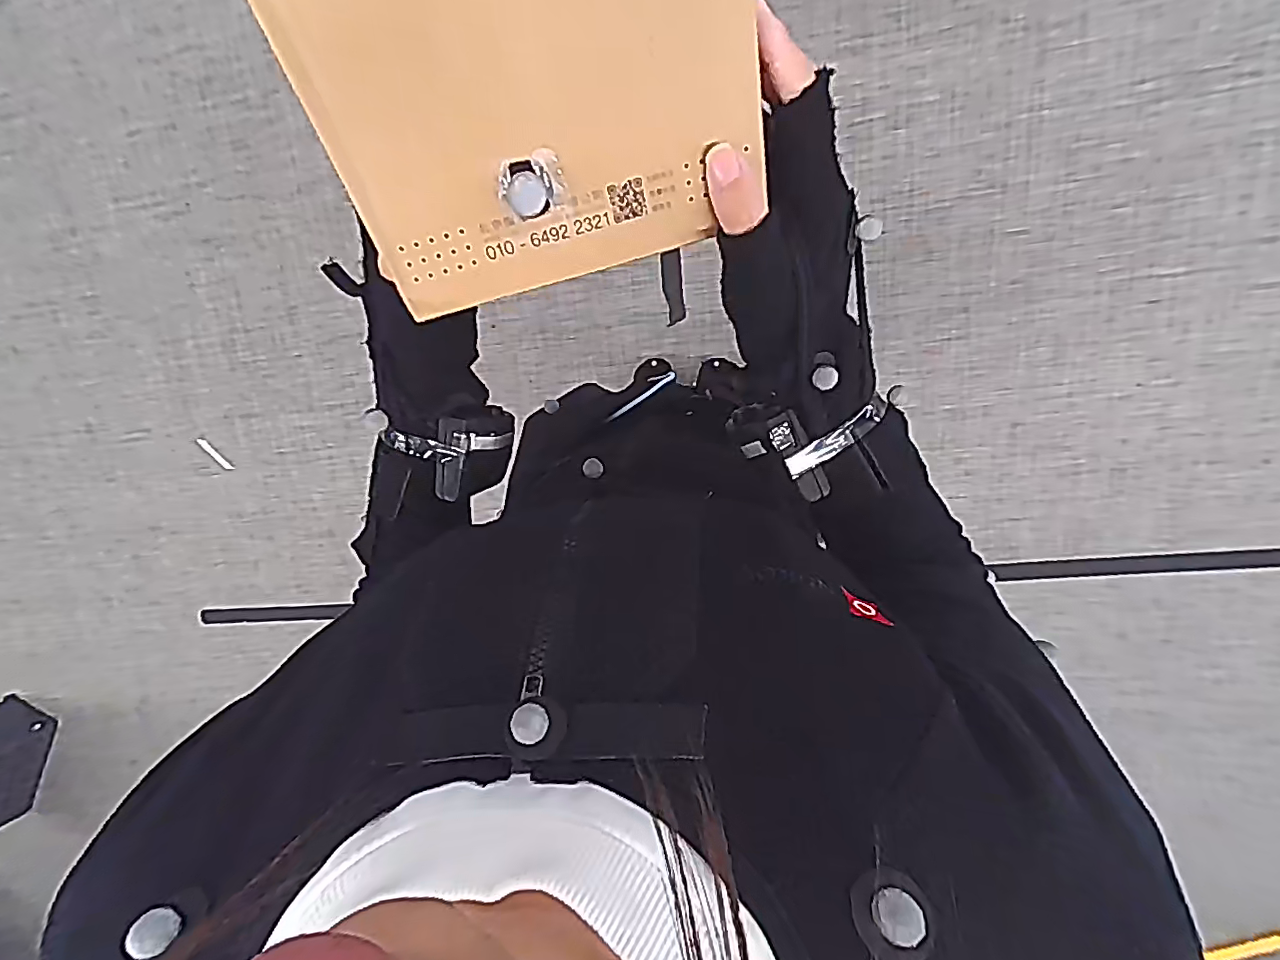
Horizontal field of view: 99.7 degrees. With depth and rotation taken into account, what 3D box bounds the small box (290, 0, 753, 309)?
[{"bbox_3d":[-0.052,-0.208,0.270,0.168,0.179,0.176,-17,130,0],"label":"small box"}]
